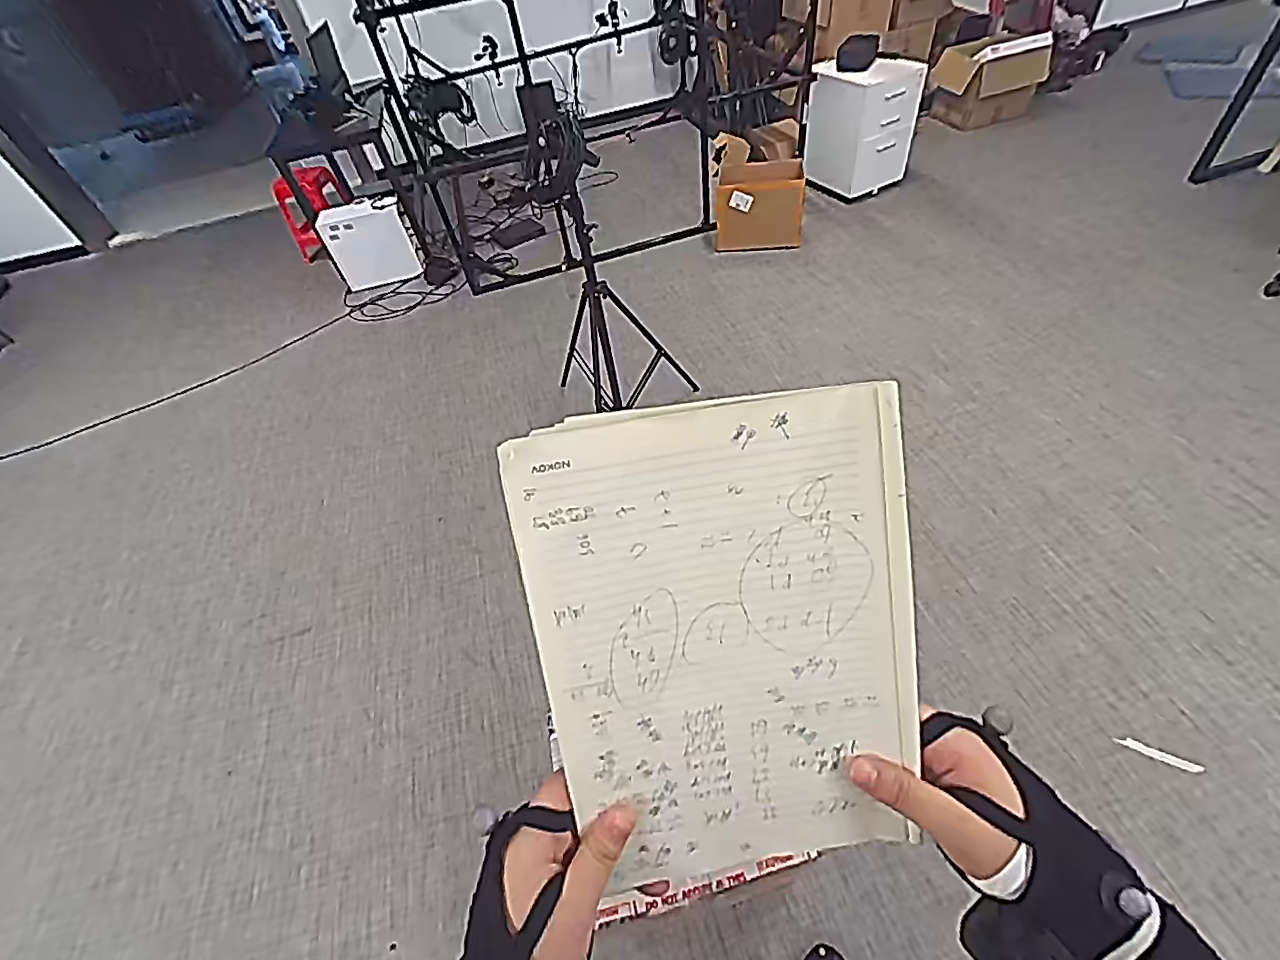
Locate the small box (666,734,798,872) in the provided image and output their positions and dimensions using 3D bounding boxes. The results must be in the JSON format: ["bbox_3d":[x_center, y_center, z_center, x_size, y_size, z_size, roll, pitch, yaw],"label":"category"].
[{"bbox_3d":[0.149,0.465,0.821,0.179,0.176,0.168,-18,50,-8],"label":"small box"}]

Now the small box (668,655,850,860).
[{"bbox_3d":[0.137,0.358,0.697,0.168,0.176,0.179,-15,50,-6],"label":"small box"}]
